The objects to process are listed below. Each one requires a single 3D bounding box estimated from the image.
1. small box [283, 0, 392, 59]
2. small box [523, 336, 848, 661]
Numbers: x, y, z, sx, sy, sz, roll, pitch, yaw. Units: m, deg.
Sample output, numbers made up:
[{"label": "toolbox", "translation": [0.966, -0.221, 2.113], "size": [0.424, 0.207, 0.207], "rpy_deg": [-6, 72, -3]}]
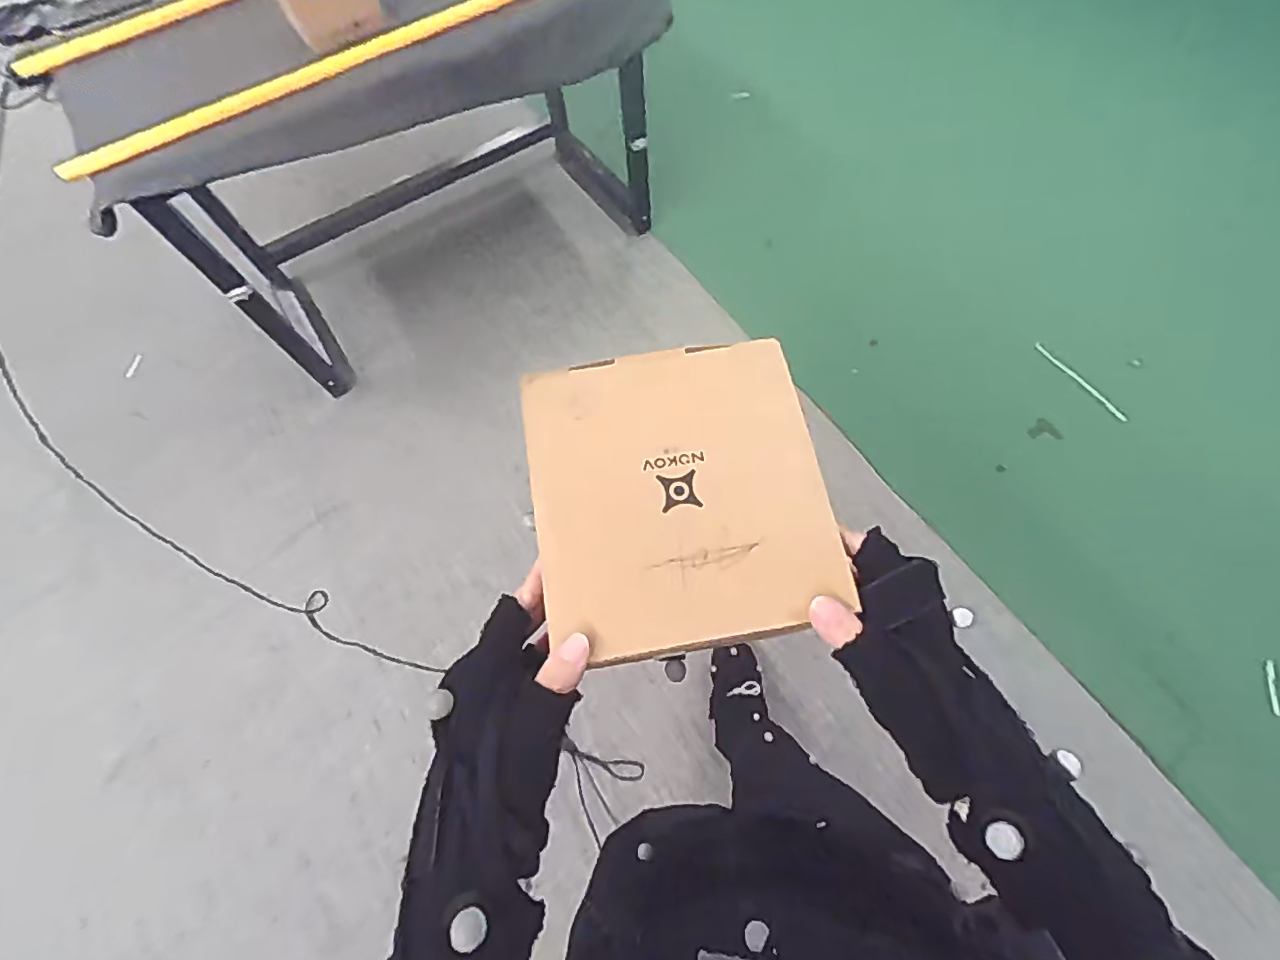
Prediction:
[{"label": "small box", "translation": [-0.649, -1.015, 1.109], "size": [0.168, 0.176, 0.179], "rpy_deg": [-34, 67, -10]}, {"label": "small box", "translation": [0.018, 0.025, 0.389], "size": [0.168, 0.176, 0.179], "rpy_deg": [-9, 70, -3]}]
